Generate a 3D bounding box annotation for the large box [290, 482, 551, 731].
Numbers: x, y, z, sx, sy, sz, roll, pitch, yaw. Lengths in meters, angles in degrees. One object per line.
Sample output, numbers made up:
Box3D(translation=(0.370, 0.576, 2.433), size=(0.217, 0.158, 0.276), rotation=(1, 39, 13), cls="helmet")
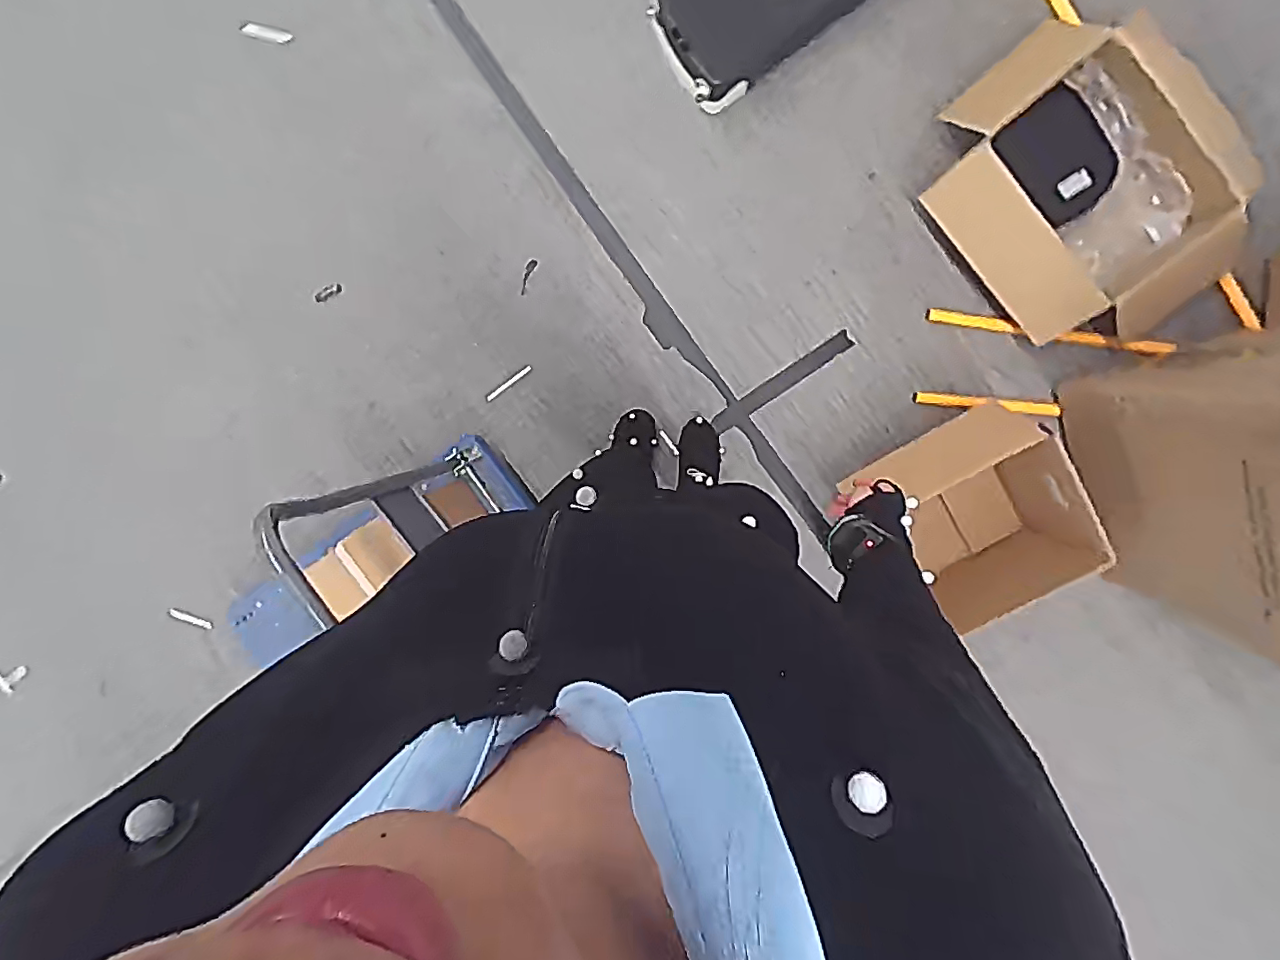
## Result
Box3D(translation=(-0.471, 0.267, 1.245), size=(0.320, 0.320, 0.408), rotation=(-33, 94, 8), cls="large box")
